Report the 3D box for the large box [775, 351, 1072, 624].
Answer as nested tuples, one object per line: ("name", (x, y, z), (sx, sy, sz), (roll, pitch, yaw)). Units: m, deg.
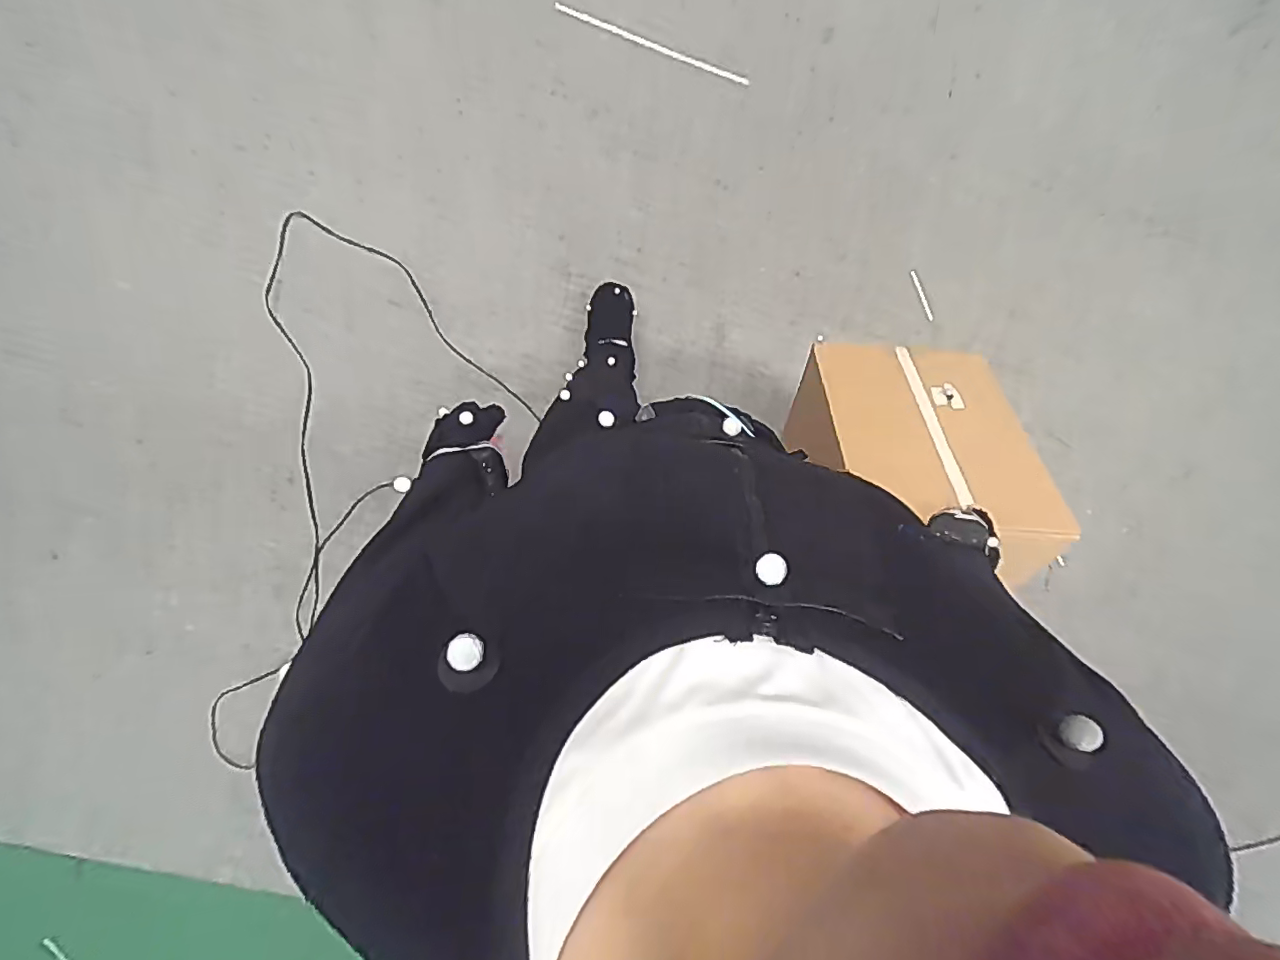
("large box", (0.457, 0.015, 0.997), (0.320, 0.408, 0.320), (4, 139, -1))
